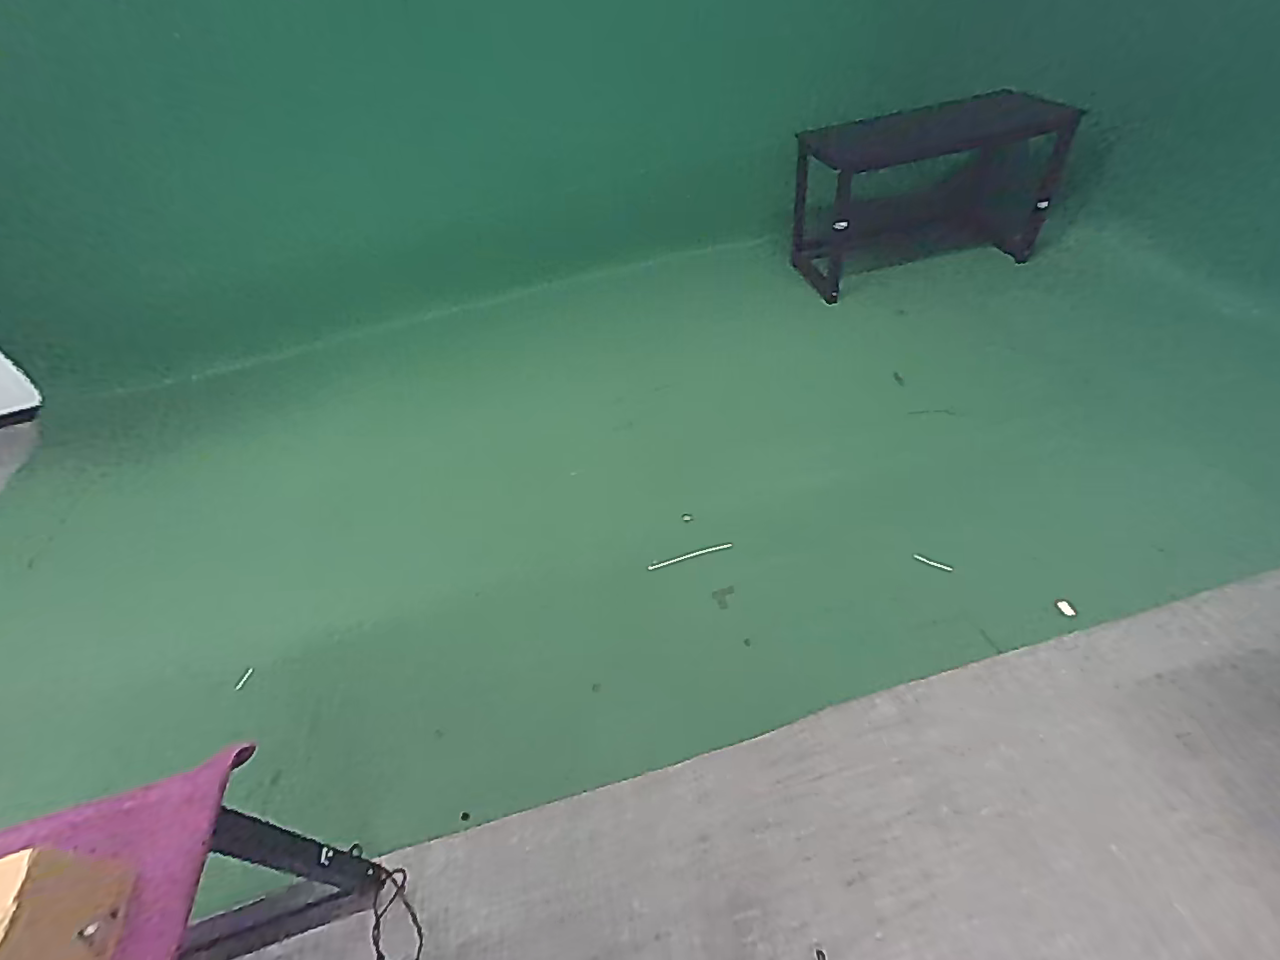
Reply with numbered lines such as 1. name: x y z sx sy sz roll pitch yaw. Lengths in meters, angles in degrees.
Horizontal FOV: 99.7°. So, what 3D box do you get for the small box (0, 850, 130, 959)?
1. small box: -0.835 0.608 0.693 0.179 0.176 0.168 -16 48 -5
